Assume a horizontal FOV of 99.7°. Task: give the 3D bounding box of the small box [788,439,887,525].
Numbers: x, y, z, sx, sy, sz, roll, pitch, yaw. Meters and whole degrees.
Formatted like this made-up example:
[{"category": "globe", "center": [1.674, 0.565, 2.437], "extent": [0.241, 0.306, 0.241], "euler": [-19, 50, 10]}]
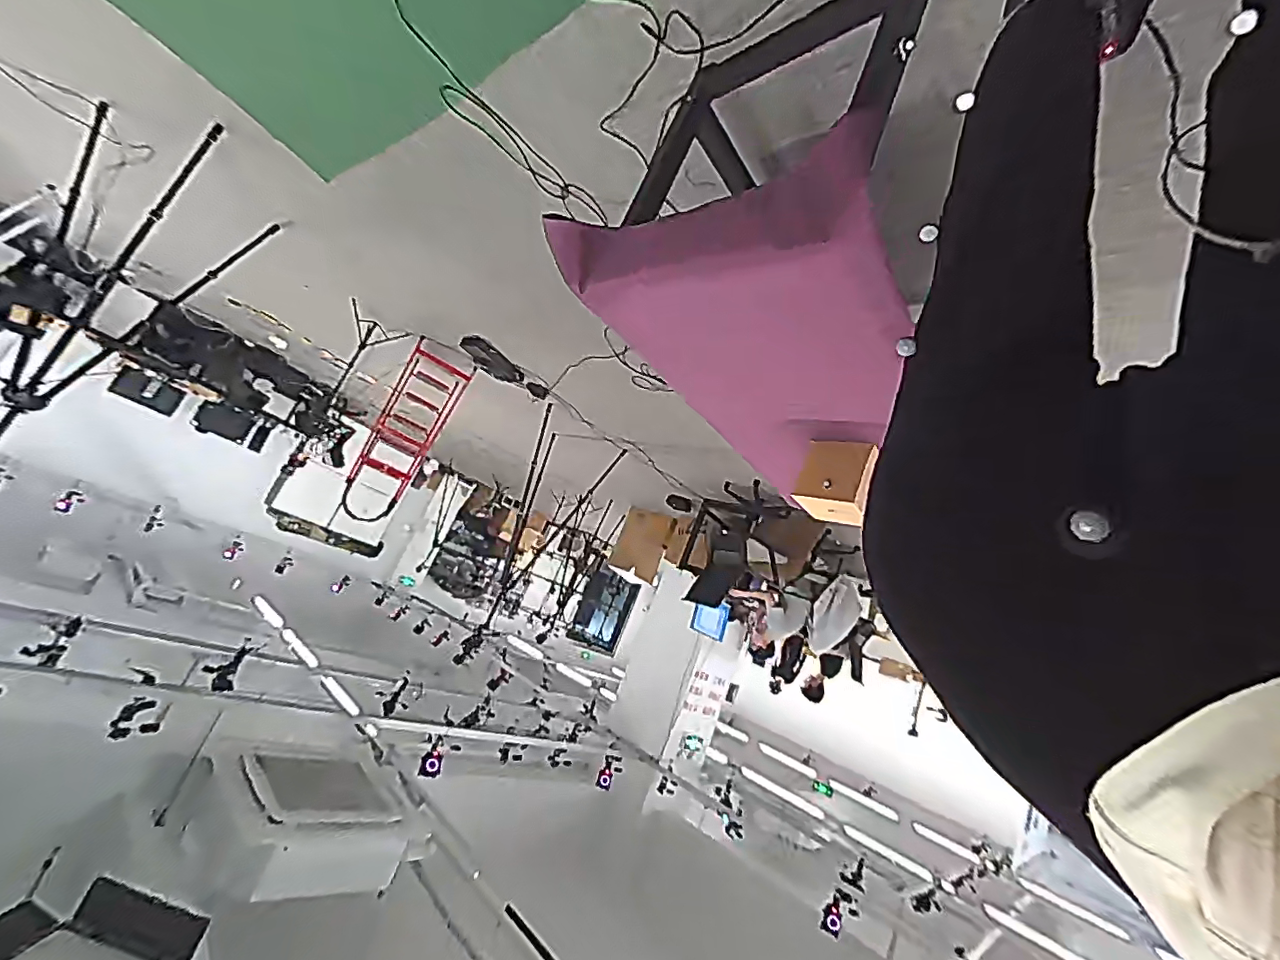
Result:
[{"category": "small box", "center": [0.525, 0.001, 1.429], "extent": [0.179, 0.176, 0.168], "euler": [7, 159, 45]}]
